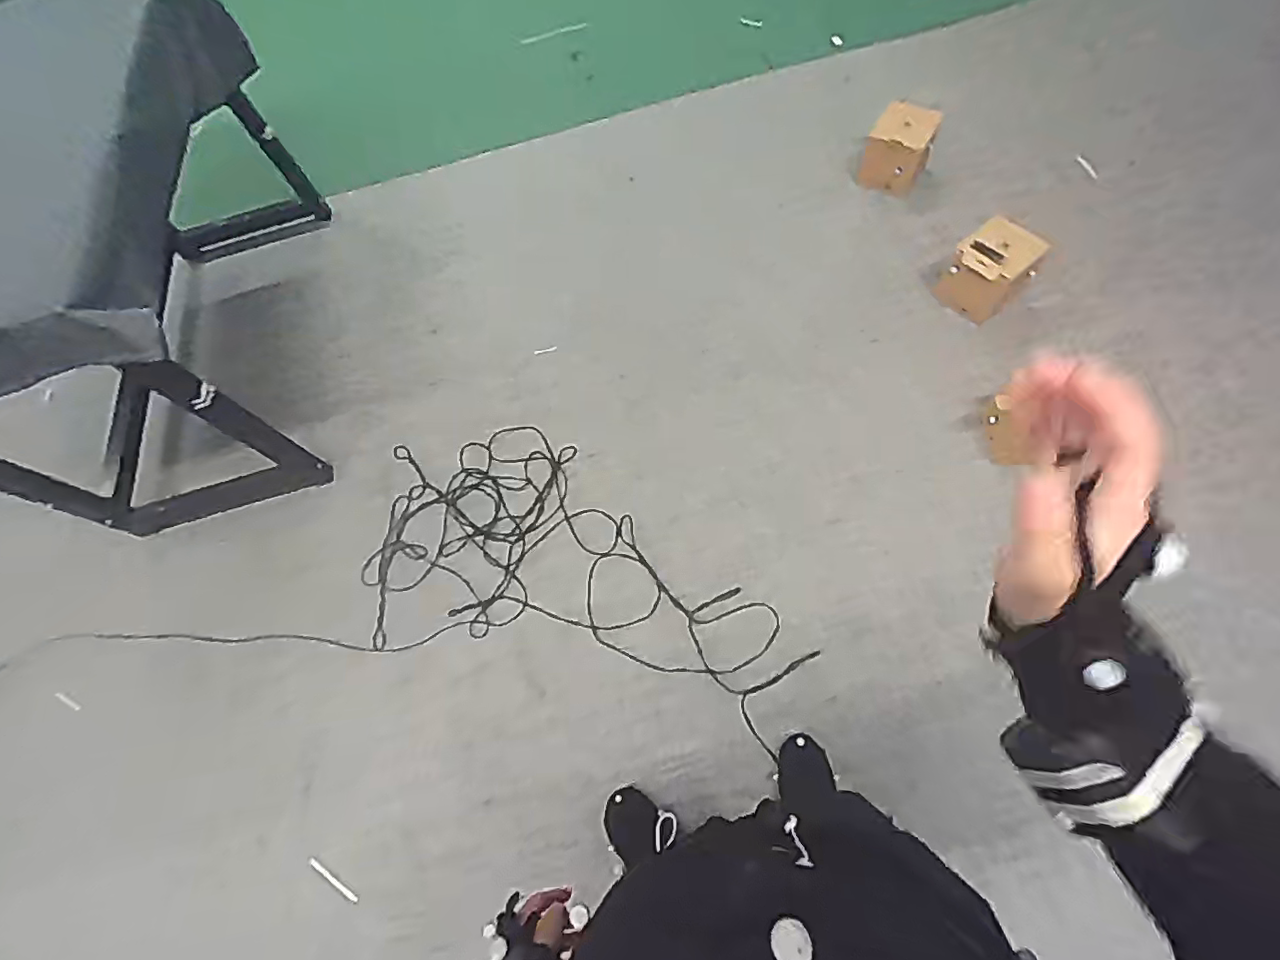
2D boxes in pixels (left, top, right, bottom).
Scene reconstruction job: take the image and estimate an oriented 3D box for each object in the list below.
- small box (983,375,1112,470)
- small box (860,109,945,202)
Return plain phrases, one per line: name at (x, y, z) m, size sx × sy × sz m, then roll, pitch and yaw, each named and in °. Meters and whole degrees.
small box at (0.955, -0.131, 1.283) m, size 0.179 × 0.176 × 0.168 m, roll 3°, pitch 67°, yaw 9°
small box at (0.816, -1.016, 1.701) m, size 0.168 × 0.176 × 0.179 m, roll 29°, pitch 71°, yaw 17°
